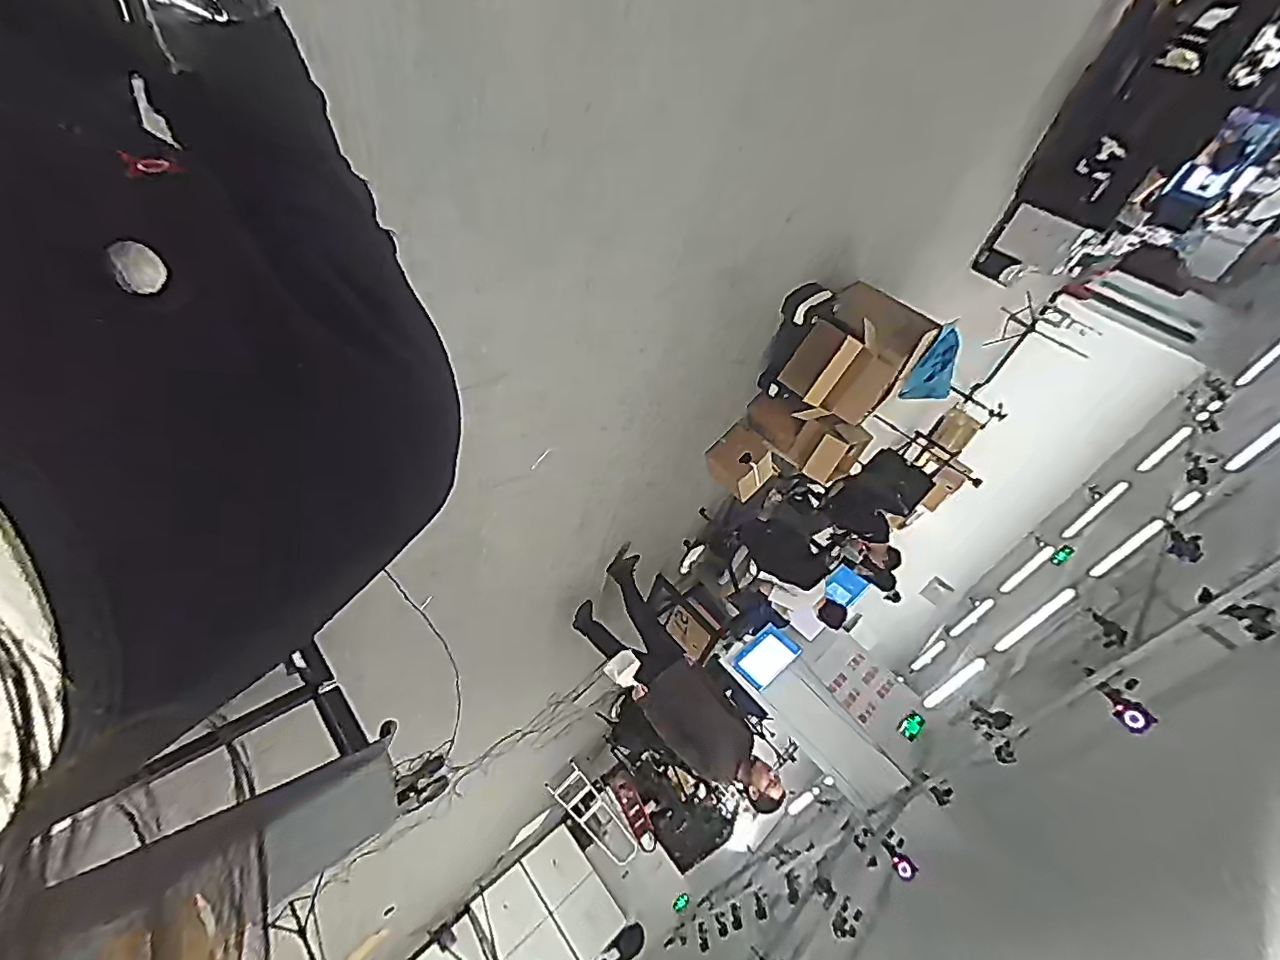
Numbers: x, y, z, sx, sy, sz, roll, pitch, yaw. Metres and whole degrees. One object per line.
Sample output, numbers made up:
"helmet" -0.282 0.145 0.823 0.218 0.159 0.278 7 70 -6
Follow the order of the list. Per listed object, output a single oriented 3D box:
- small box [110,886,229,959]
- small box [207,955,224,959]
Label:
"small box" -1.122 1.130 1.292 0.179 0.176 0.168 -22 146 -40
"small box" -1.016 1.238 1.230 0.168 0.176 0.179 -25 146 -41
